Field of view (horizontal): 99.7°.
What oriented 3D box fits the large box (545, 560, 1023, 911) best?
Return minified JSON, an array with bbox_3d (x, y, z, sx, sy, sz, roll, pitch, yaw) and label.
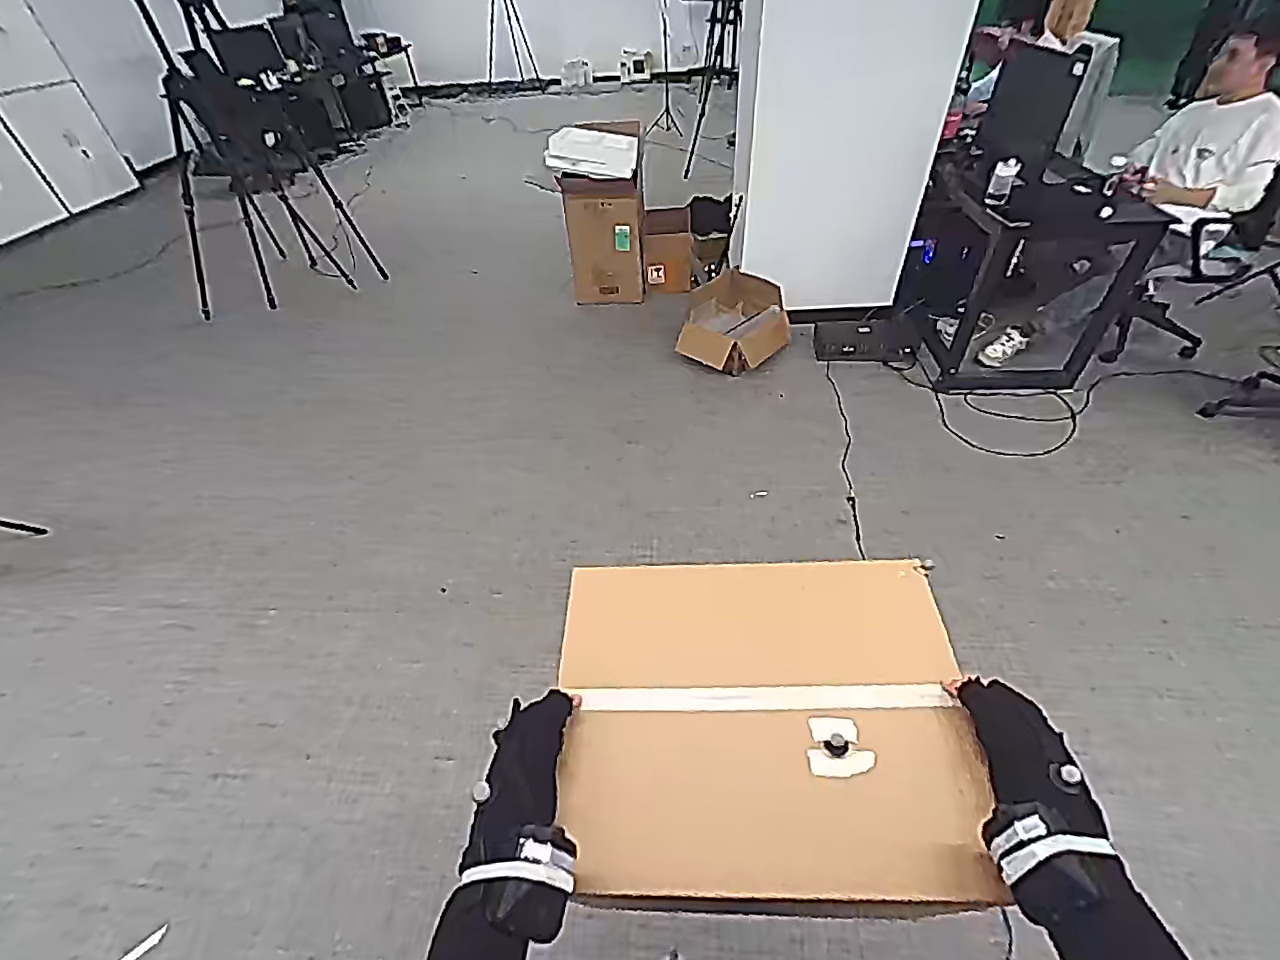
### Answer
[{"bbox_3d":[0.126,0.315,0.656,0.408,0.320,0.320,-2,49,4],"label":"large box"}]
